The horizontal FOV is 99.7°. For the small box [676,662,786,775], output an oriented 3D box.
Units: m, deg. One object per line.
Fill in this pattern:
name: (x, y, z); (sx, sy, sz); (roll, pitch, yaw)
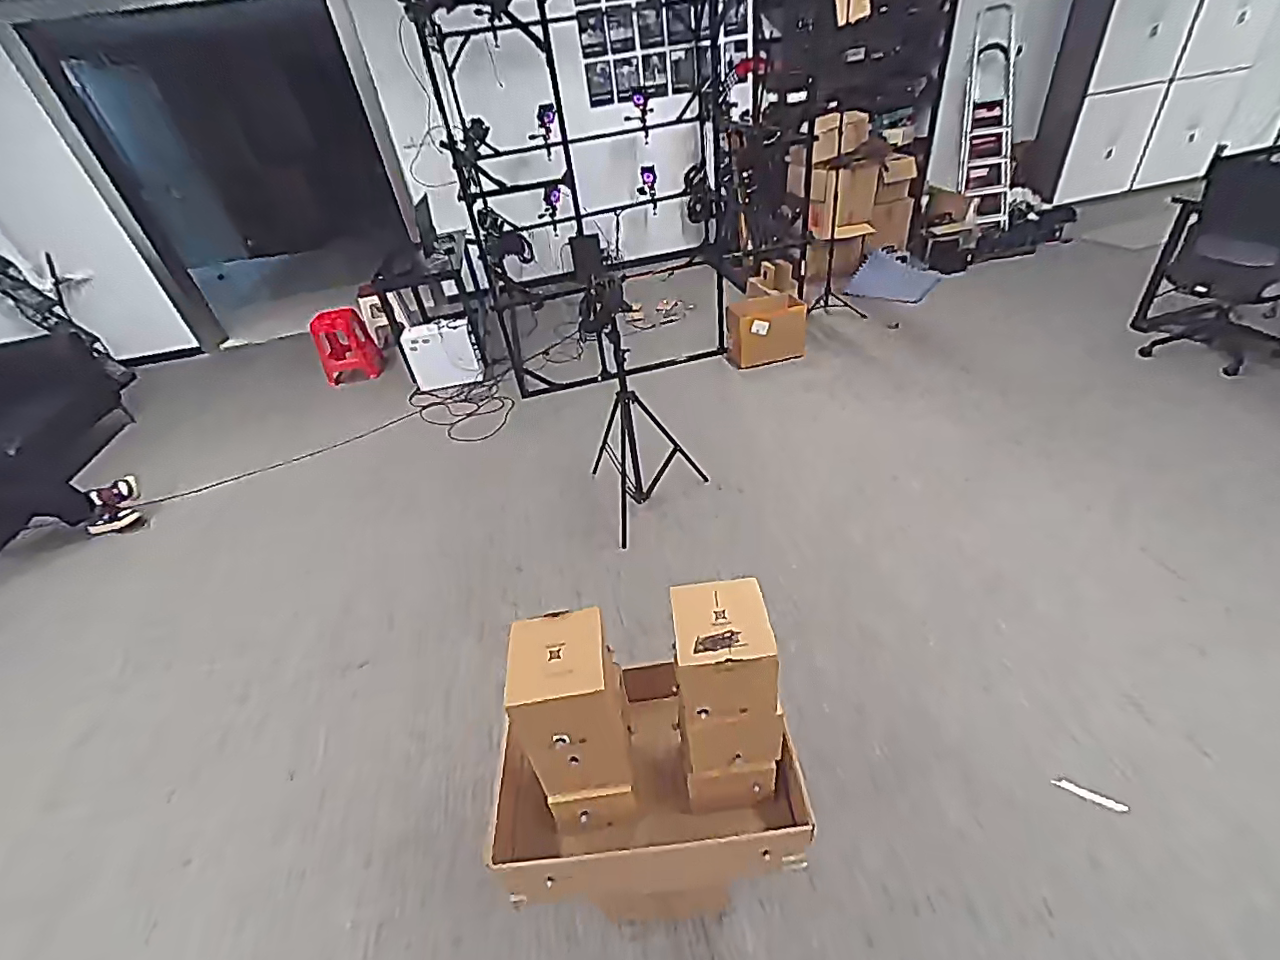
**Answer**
small box: (0.170, 0.447, 1.057); (0.179, 0.176, 0.168); (-9, 36, -2)

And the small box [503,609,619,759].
small box: (-0.134, 0.362, 0.963); (0.168, 0.176, 0.179); (-10, 35, -1)

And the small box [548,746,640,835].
small box: (-0.095, 0.628, 1.151); (0.168, 0.176, 0.179); (-8, 36, -1)

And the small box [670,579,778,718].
small box: (0.149, 0.307, 0.972); (0.168, 0.176, 0.179); (-7, 36, 2)

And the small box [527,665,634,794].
small box: (-0.111, 0.491, 1.061); (0.179, 0.176, 0.168); (-7, 36, 0)
